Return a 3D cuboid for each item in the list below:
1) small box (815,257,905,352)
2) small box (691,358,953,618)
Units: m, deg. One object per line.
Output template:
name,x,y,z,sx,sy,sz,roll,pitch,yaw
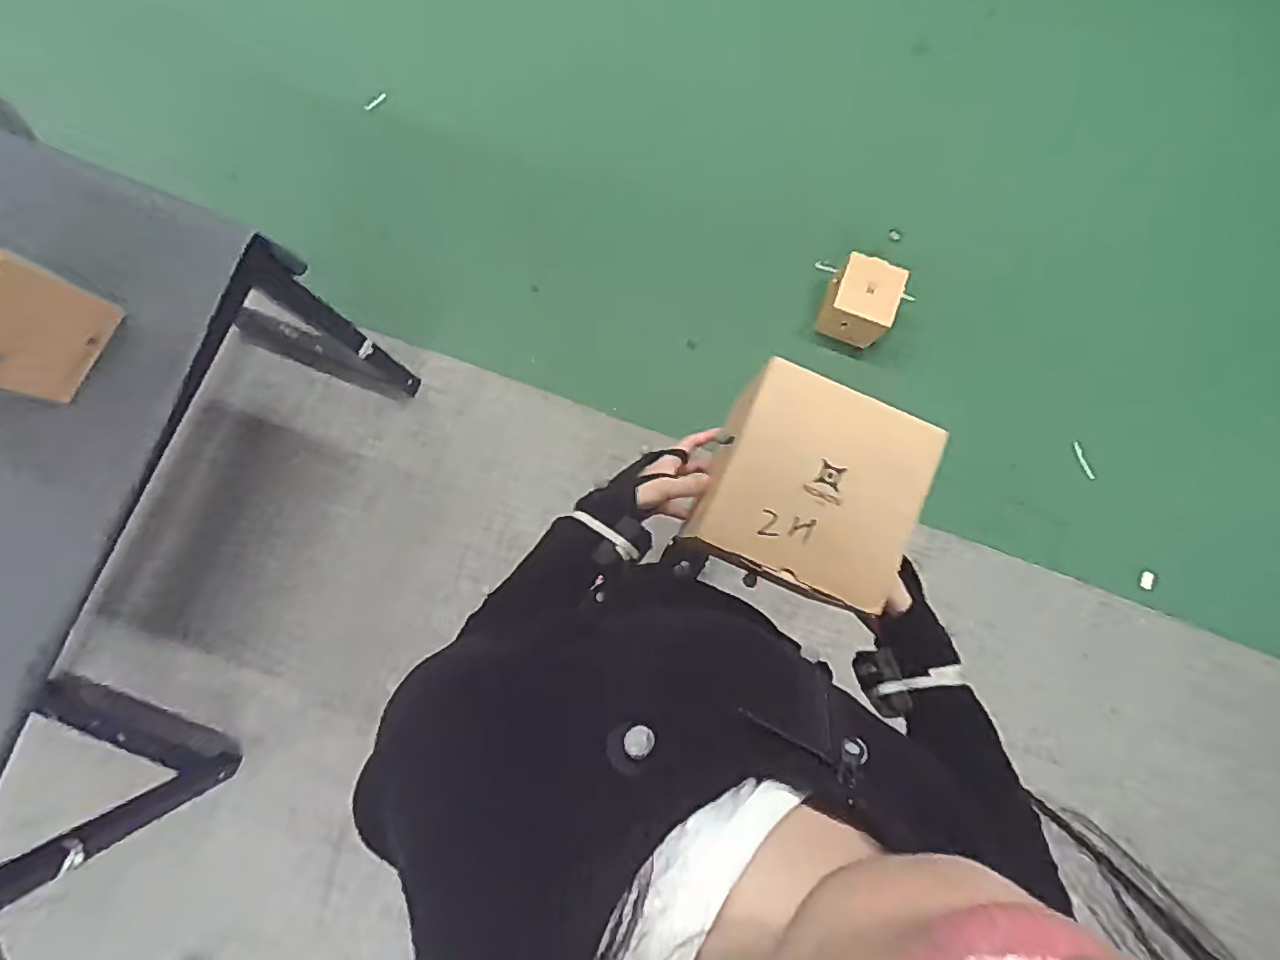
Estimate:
small box,0.618,-0.493,1.546,0.168,0.176,0.179,20,81,2
small box,0.160,0.013,0.537,0.168,0.176,0.179,25,83,2
